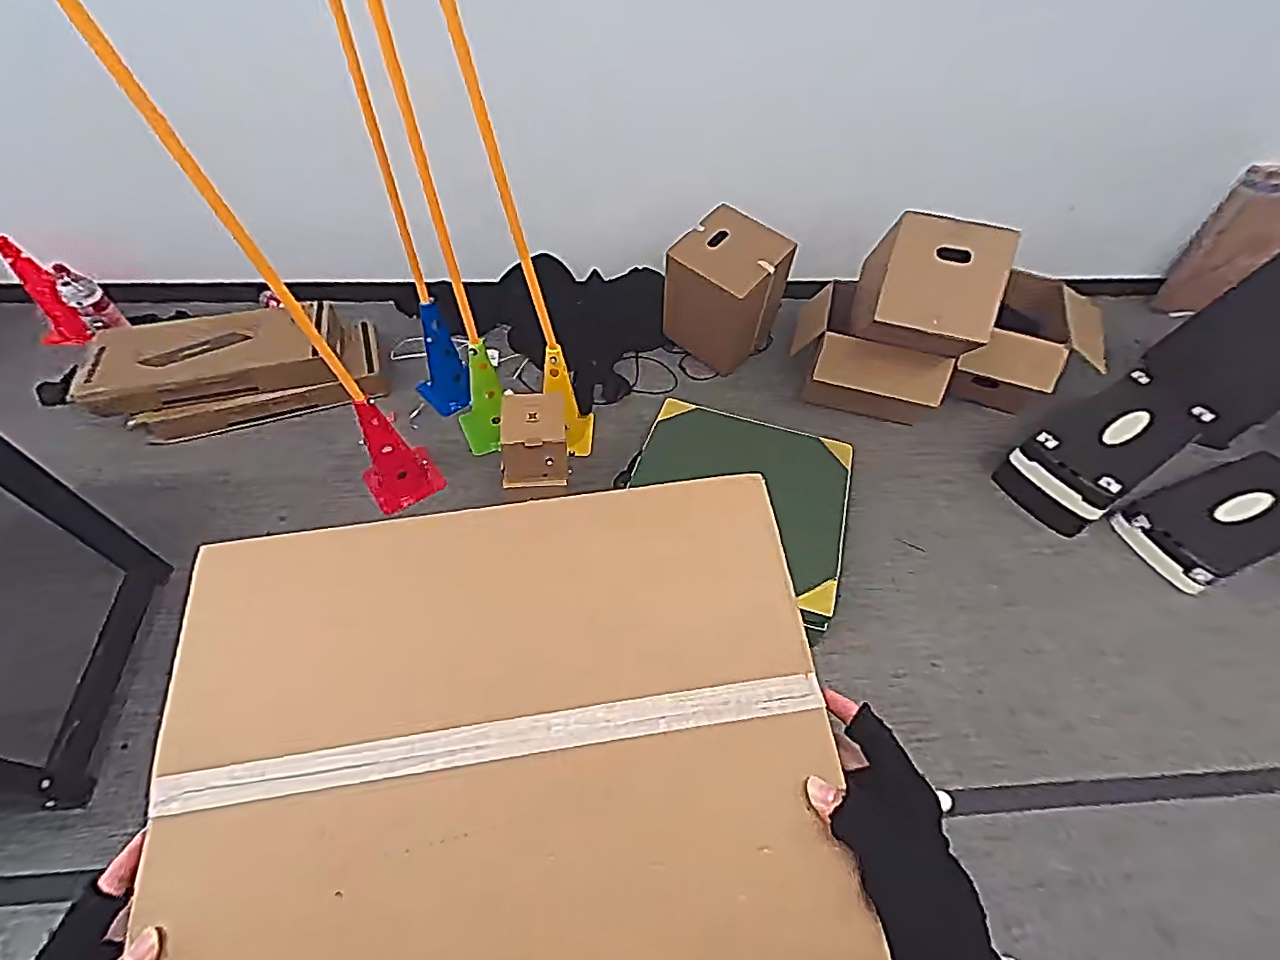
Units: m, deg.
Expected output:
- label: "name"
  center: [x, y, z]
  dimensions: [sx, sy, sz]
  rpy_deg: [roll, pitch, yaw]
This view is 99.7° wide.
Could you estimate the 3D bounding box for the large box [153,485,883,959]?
- label: "large box"
  center: [-0.083, 0.231, 0.476]
  dimensions: [0.408, 0.320, 0.320]
  rpy_deg: [-8, 66, -3]
